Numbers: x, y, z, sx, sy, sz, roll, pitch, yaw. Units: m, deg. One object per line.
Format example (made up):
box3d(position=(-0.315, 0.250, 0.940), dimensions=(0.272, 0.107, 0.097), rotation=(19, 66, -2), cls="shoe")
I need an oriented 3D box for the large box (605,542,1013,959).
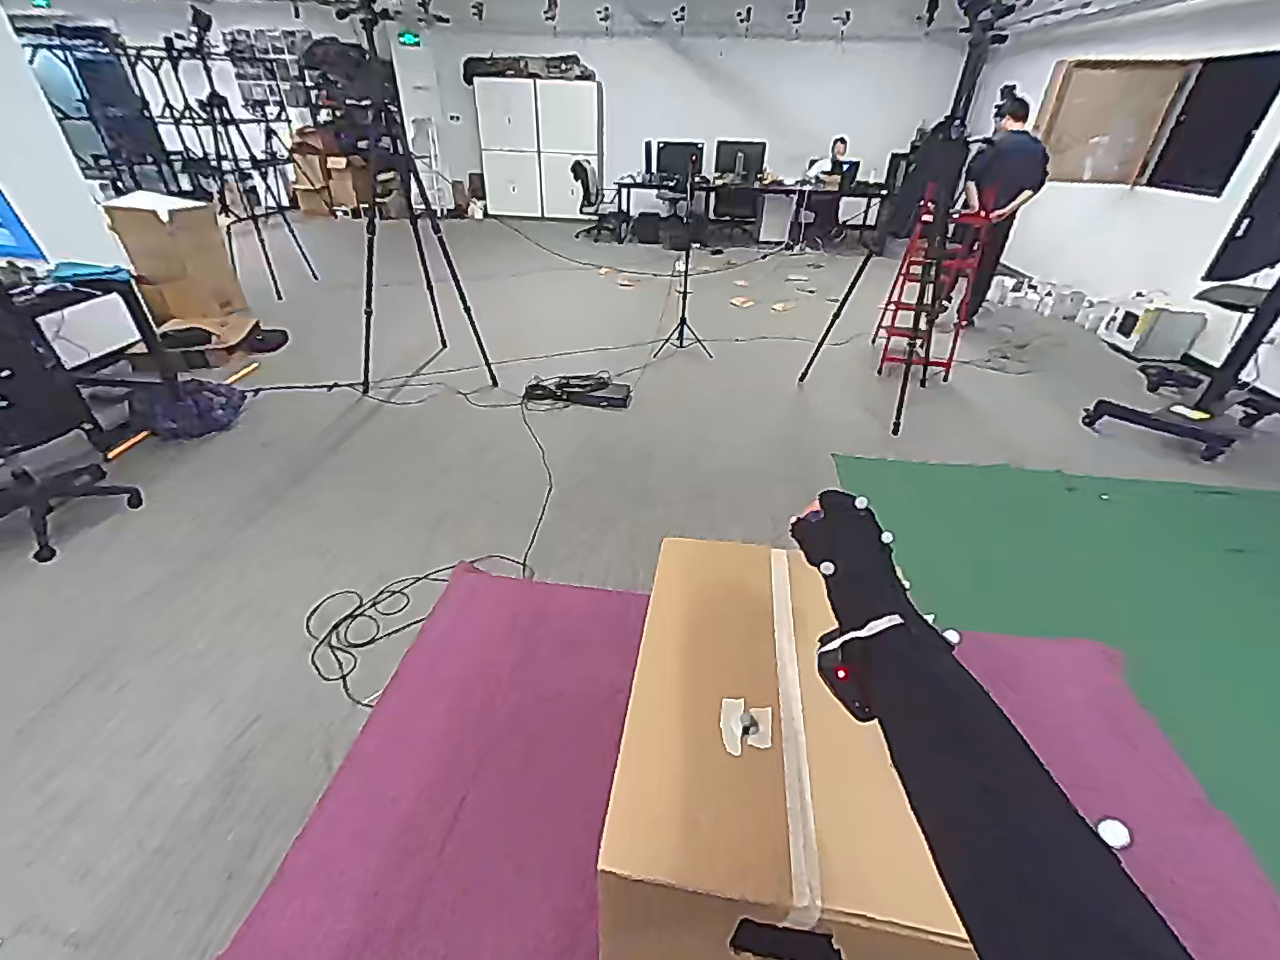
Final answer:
box3d(position=(0.146, 0.335, 0.655), dimensions=(0.320, 0.320, 0.408), rotation=(7, 35, 7), cls="large box")
